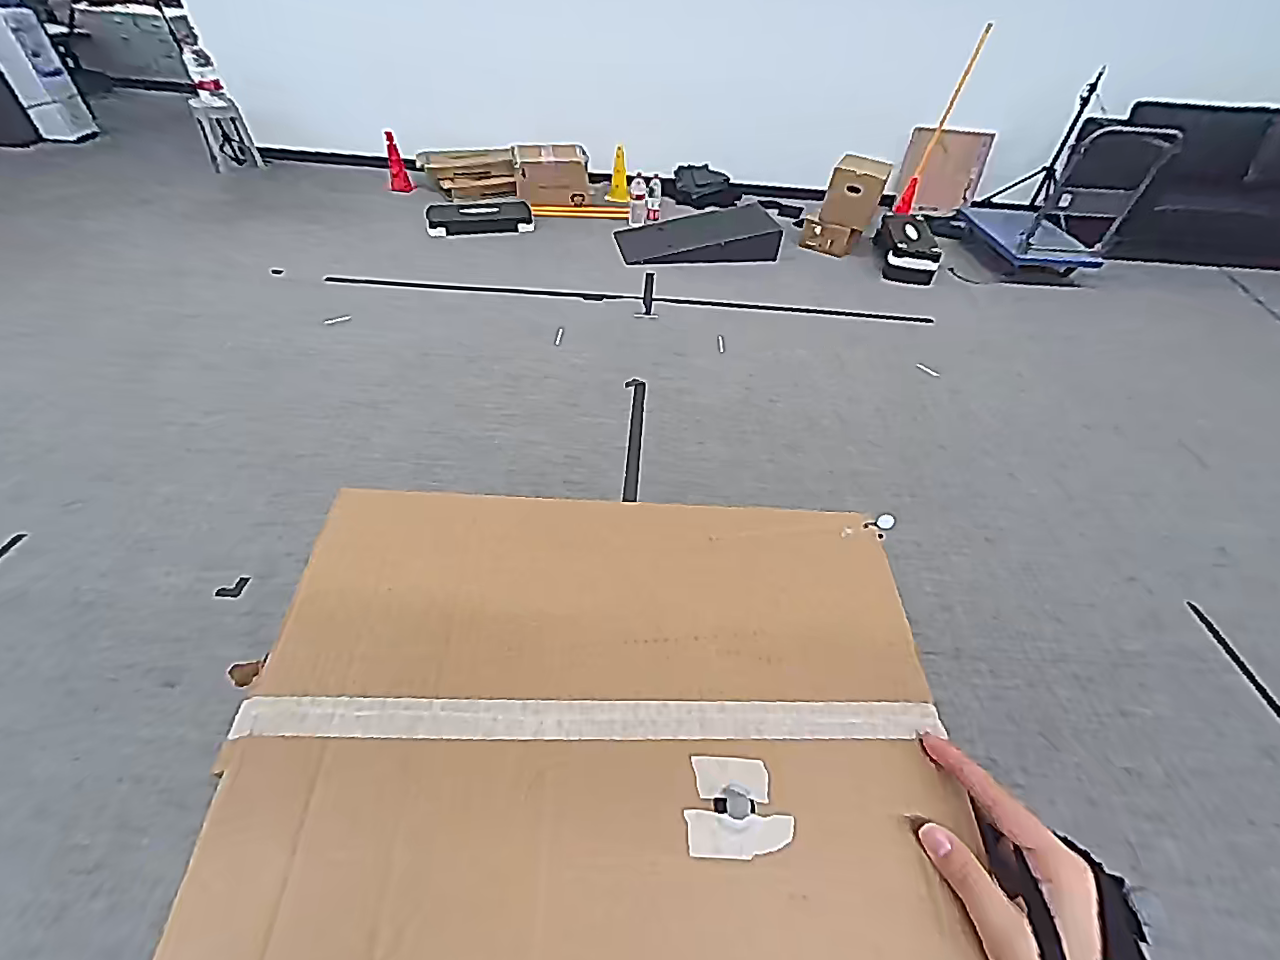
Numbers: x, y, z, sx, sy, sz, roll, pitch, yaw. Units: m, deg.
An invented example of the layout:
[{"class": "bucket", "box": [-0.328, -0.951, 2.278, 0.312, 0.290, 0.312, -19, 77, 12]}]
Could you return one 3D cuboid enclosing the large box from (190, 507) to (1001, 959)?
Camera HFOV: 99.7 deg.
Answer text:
[{"class": "large box", "box": [-0.030, 0.240, 0.445, 0.408, 0.320, 0.320, 3, 53, -6]}]
